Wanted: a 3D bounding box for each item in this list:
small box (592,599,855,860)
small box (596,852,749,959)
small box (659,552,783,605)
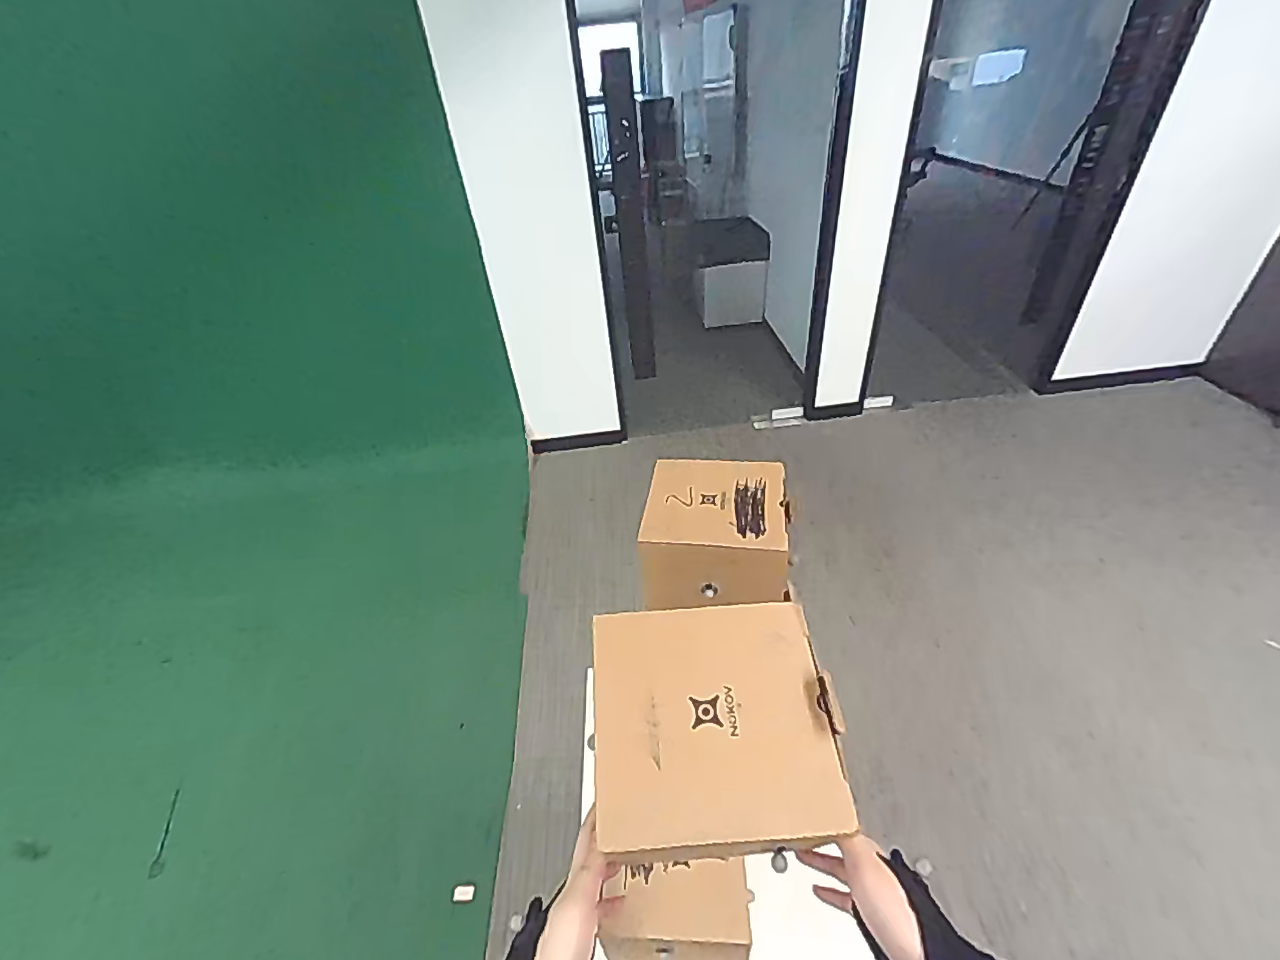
[{"bbox_3d":[0.054,0.216,0.462,0.179,0.176,0.168,-4,51,0],"label":"small box"},{"bbox_3d":[0.047,0.522,0.716,0.179,0.176,0.168,-1,38,5],"label":"small box"},{"bbox_3d":[0.123,0.227,0.820,0.179,0.176,0.168,-1,39,6],"label":"small box"}]
